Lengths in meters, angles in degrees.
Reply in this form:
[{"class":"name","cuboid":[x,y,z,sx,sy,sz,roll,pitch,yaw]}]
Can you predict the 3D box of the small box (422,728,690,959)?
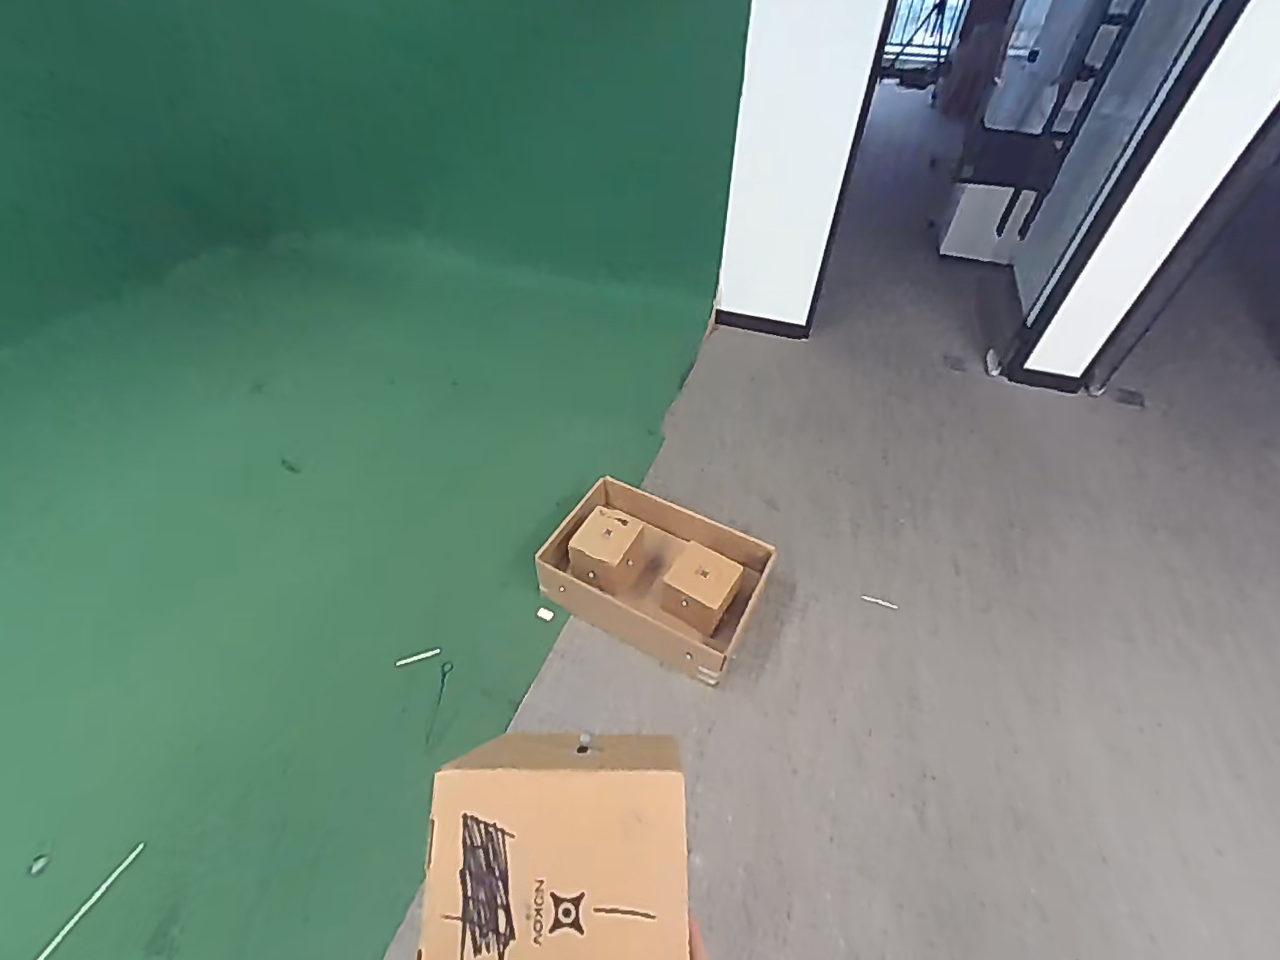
[{"class":"small box","cuboid":[-0.051,0.298,0.431,0.179,0.176,0.168,0,72,1]}]
